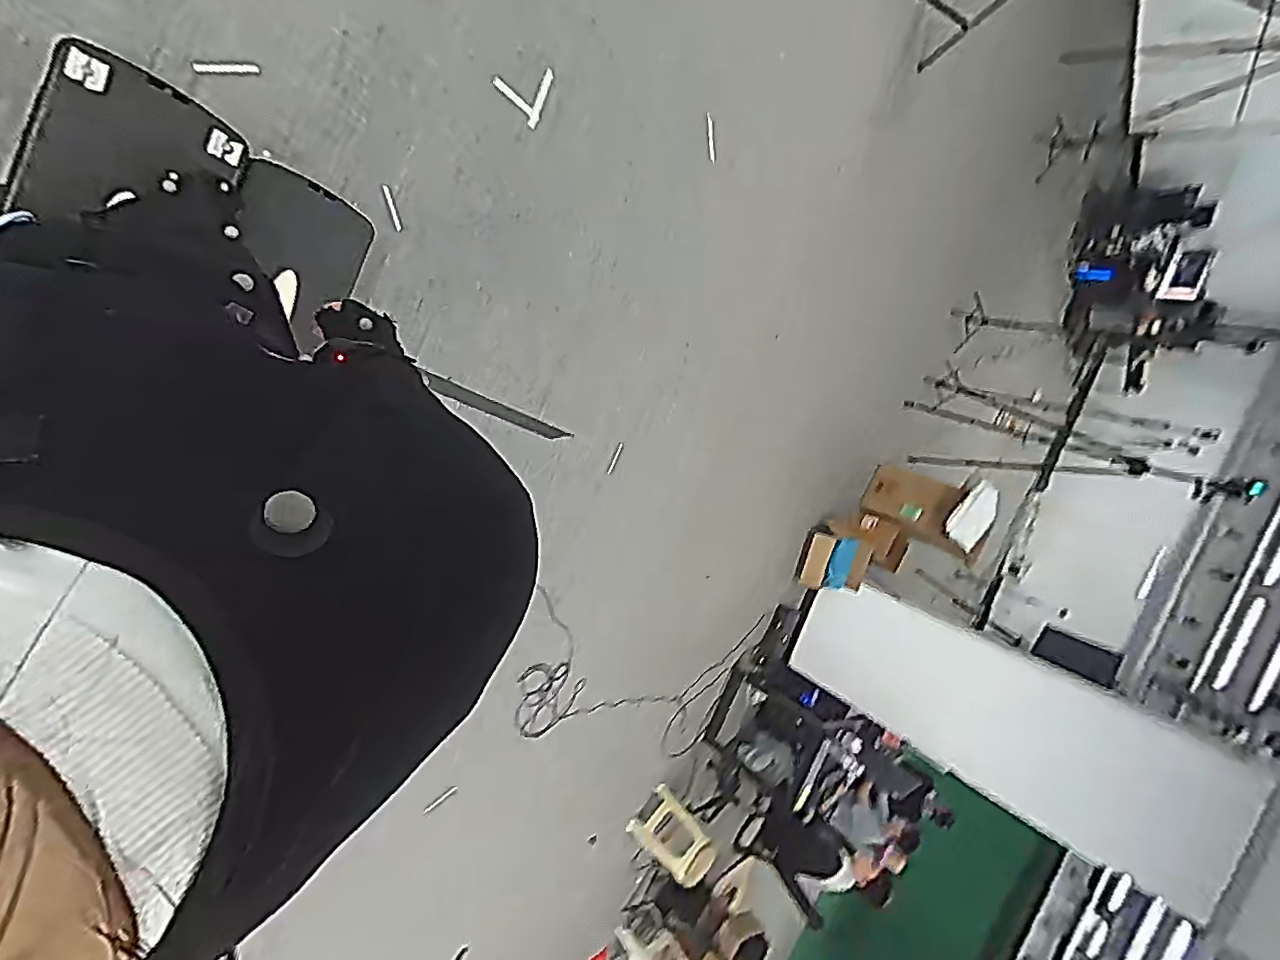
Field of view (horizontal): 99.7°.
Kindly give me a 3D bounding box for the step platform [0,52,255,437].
[{"bbox_3d":[-1.037,-0.432,1.071,0.286,0.204,0.684,19,94,-49],"label":"step platform"}]
